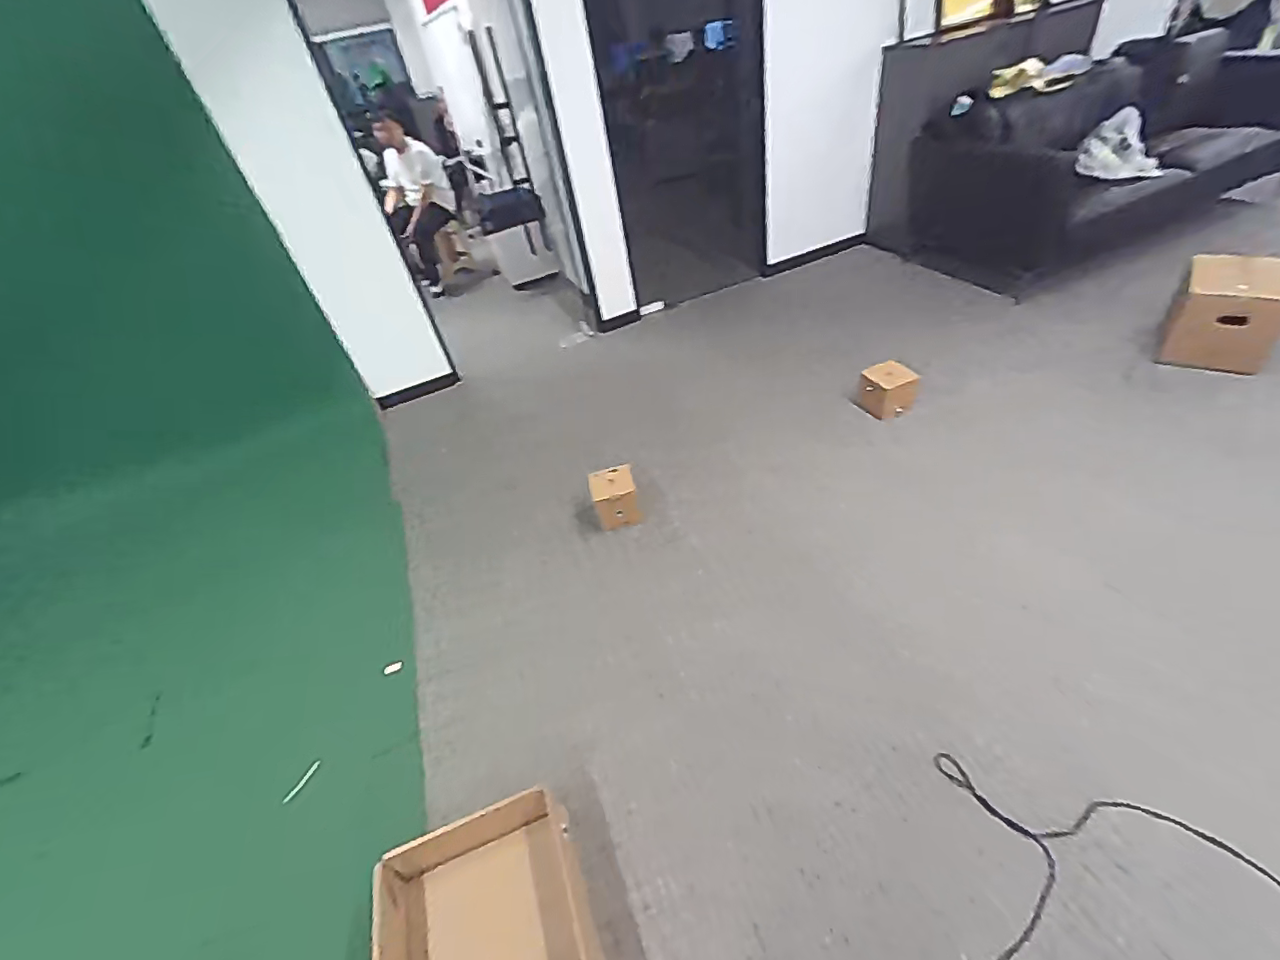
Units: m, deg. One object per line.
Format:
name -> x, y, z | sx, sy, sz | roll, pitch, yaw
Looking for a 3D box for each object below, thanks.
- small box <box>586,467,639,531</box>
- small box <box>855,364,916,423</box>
small box -> -0.105, 0.081, 2.115 | 0.168, 0.176, 0.179 | -14, 41, -2
small box -> 1.066, -0.379, 2.367 | 0.168, 0.176, 0.179 | -22, 42, -10
